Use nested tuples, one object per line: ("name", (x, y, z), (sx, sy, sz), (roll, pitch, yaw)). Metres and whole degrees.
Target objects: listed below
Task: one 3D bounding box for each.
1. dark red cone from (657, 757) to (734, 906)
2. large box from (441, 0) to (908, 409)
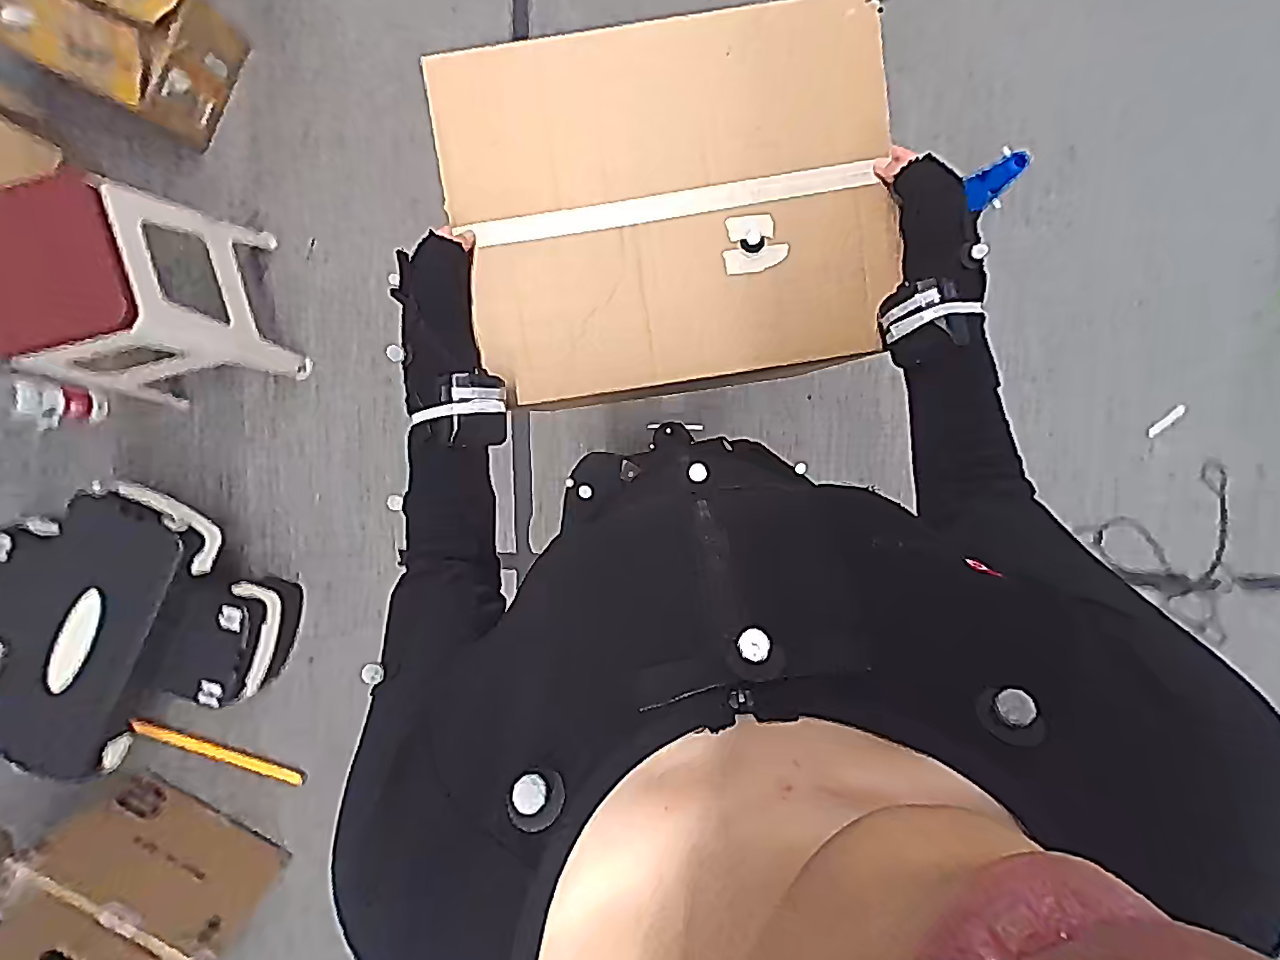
("dark red cone", (0.157, 0.881, 1.341), (0.202, 0.394, 0.201), (6, 93, -1))
("large box", (0.034, -0.269, 0.645), (0.408, 0.320, 0.320), (-8, 97, 0))
